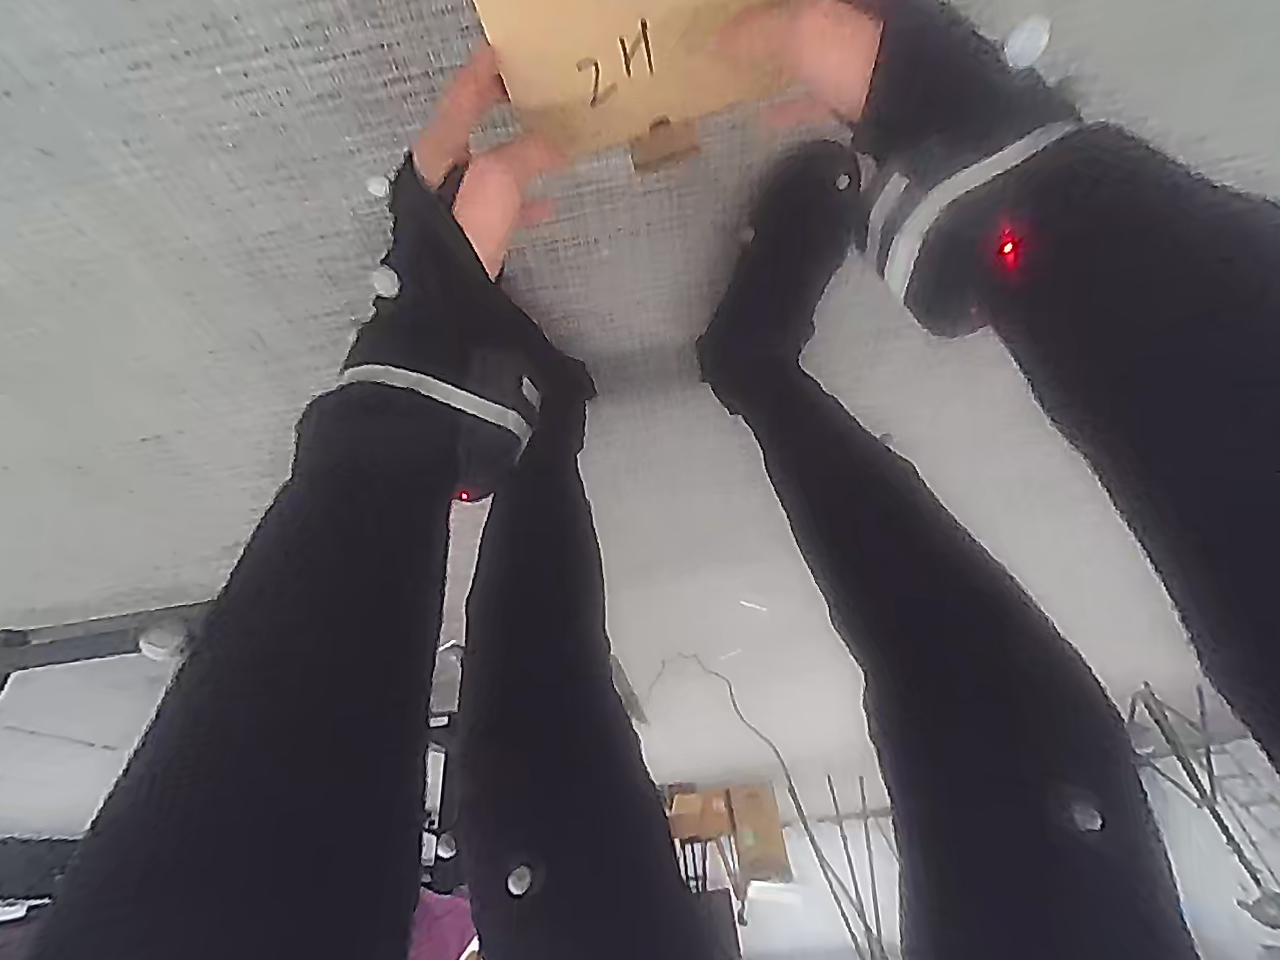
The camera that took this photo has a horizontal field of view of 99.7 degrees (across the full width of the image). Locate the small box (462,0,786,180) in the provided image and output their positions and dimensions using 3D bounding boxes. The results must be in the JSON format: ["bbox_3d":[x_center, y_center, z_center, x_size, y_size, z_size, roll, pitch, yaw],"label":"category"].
[{"bbox_3d":[-0.020,-0.322,0.324,0.168,0.176,0.179,-14,138,8],"label":"small box"}]
